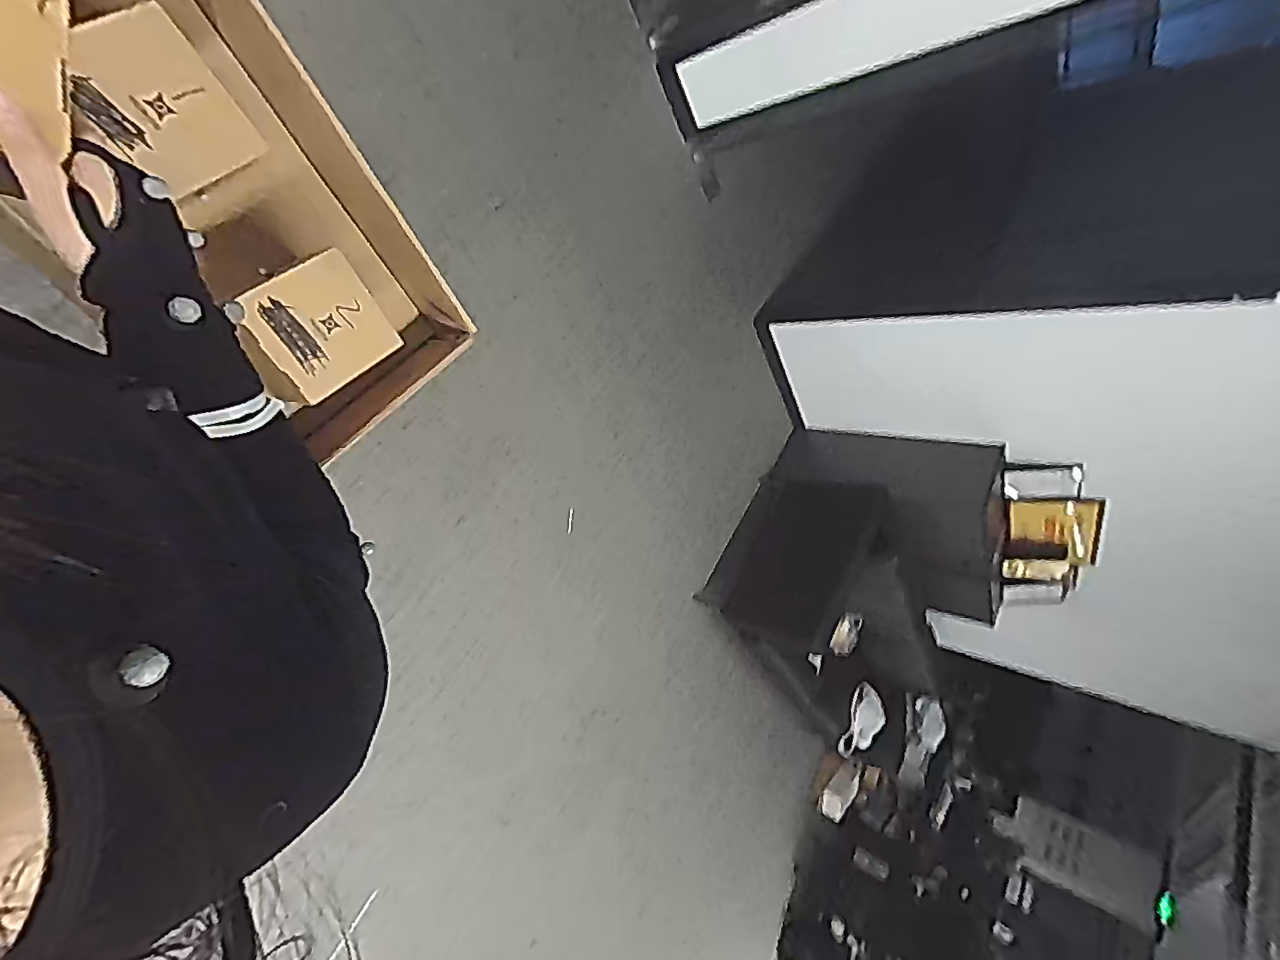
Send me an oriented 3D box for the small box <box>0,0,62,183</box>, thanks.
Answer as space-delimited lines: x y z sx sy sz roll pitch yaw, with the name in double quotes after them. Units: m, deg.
-0.444 -0.274 0.281 0.179 0.176 0.168 -7 107 -54 "small box"
